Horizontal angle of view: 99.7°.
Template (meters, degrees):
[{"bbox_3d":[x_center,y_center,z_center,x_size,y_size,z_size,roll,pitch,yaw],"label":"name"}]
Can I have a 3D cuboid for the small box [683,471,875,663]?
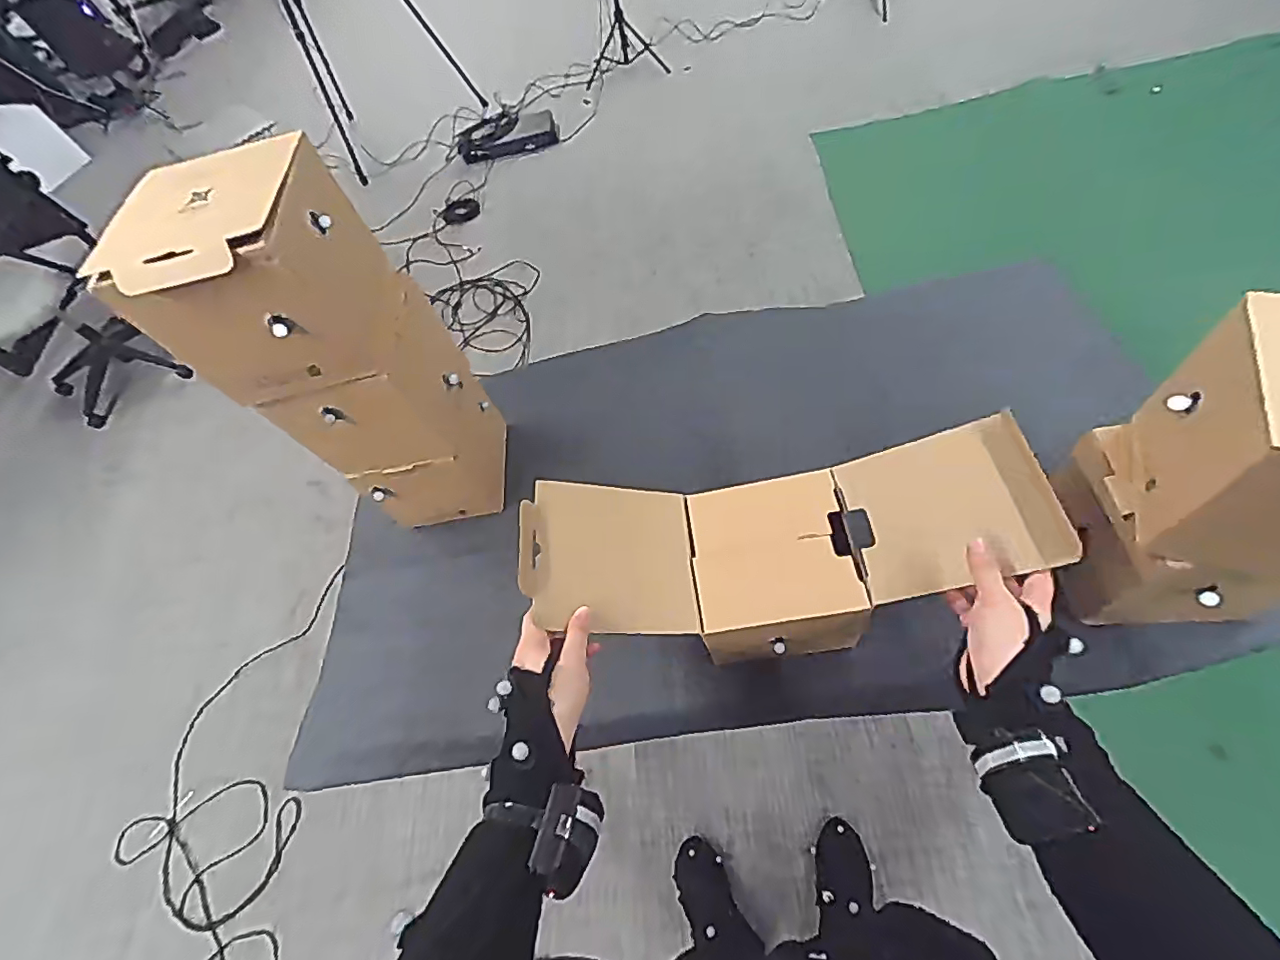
[{"bbox_3d":[0.157,0.112,0.644,0.179,0.176,0.168,-11,59,9],"label":"small box"}]

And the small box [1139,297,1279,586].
[{"bbox_3d":[0.552,-0.020,0.438,0.179,0.176,0.168,15,62,20],"label":"small box"}]

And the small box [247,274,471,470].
[{"bbox_3d":[-0.341,-0.128,0.693,0.179,0.176,0.168,-9,61,6],"label":"small box"}]

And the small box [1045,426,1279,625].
[{"bbox_3d":[0.578,0.052,0.584,0.179,0.176,0.168,-5,57,11],"label":"small box"}]

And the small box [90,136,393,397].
[{"bbox_3d":[-0.377,-0.204,0.554,0.168,0.176,0.179,-12,59,4],"label":"small box"}]
